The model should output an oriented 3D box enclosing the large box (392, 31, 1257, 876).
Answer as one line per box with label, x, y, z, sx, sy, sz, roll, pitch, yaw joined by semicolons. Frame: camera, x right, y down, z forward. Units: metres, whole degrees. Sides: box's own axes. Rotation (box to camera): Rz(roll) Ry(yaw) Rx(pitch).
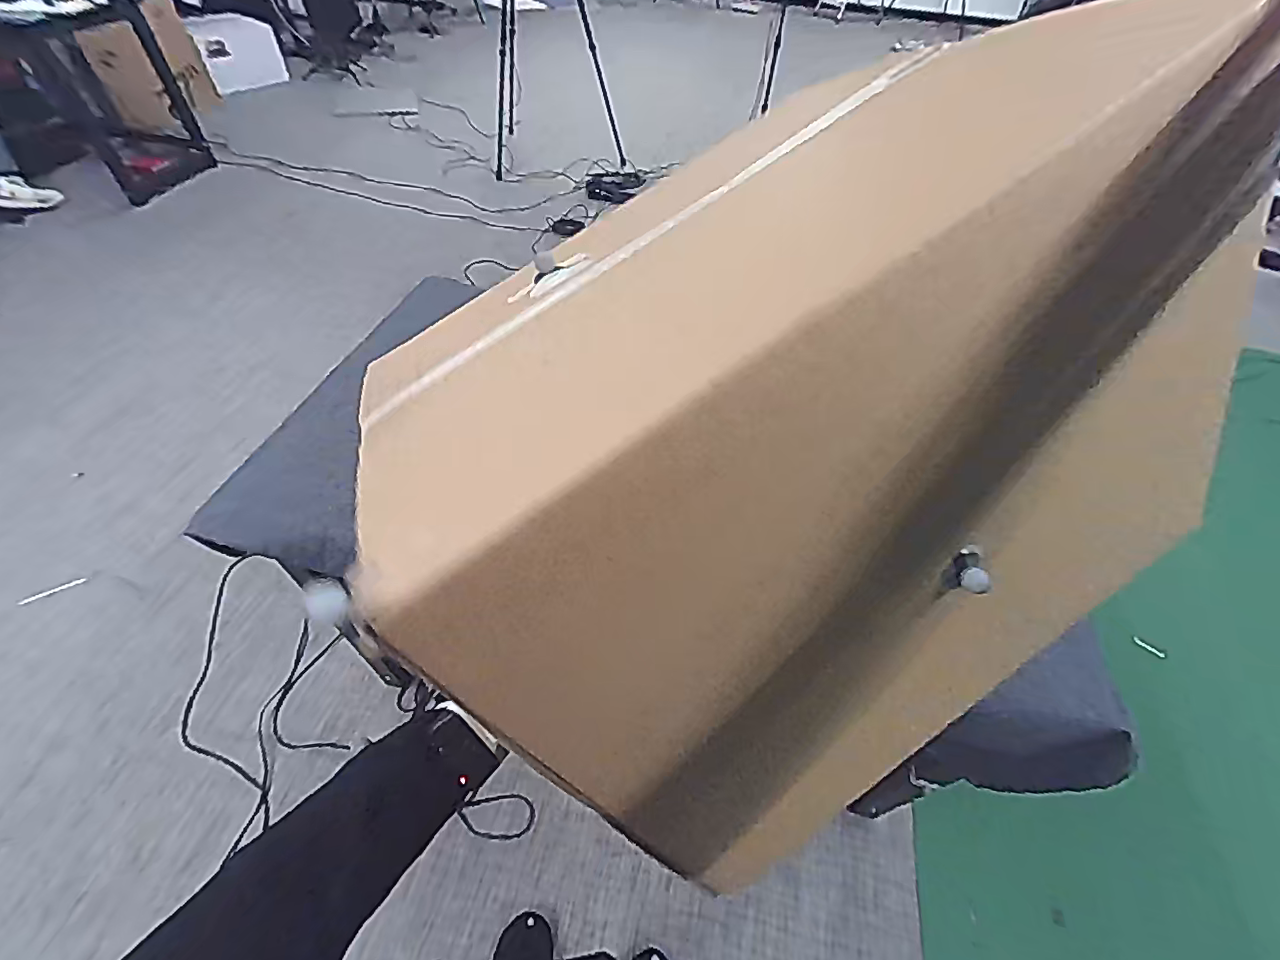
large box;0.098;-0.022;0.401;0.408;0.320;0.320;-38;35;-6
